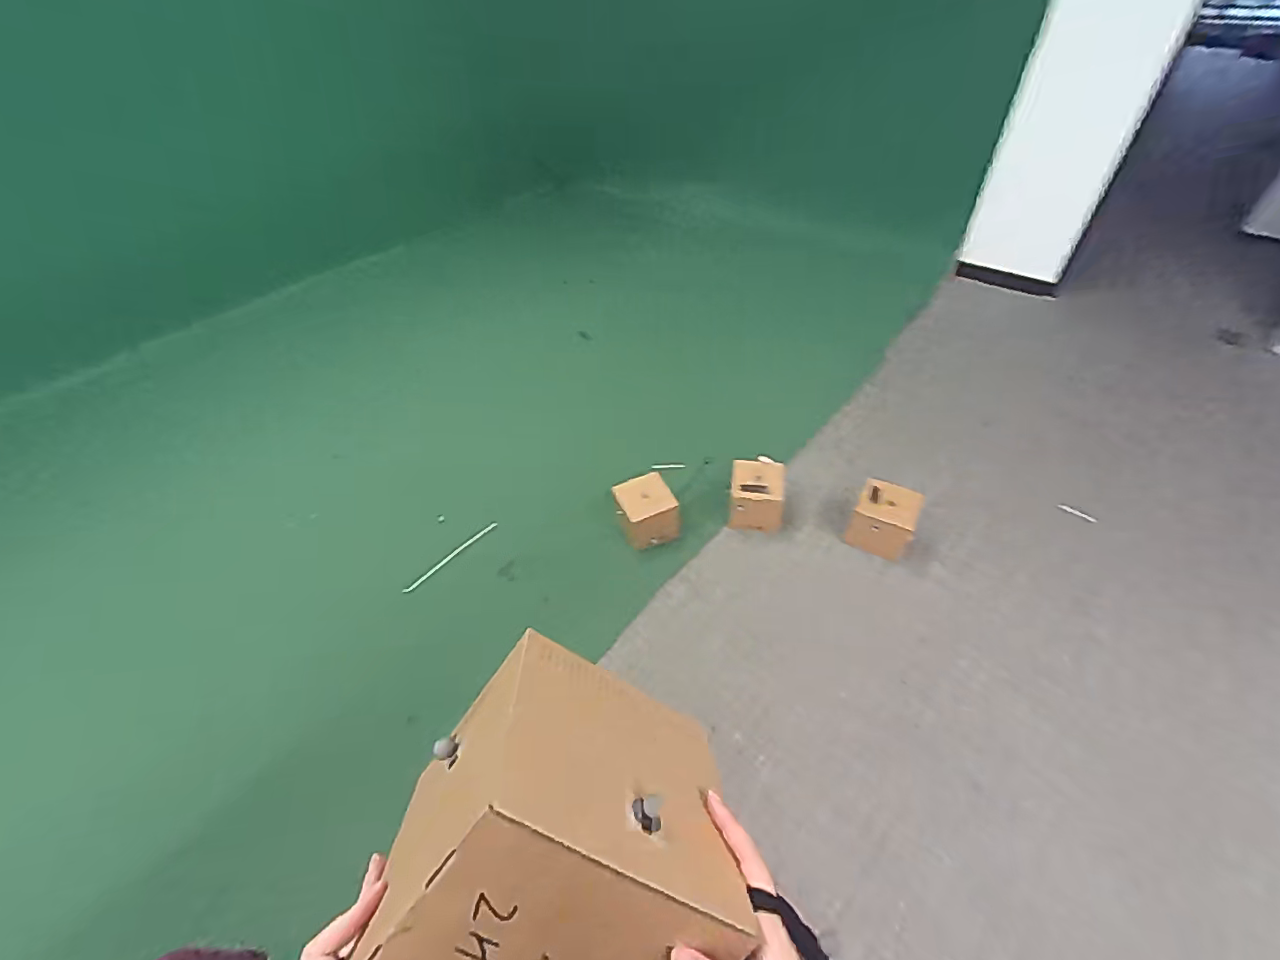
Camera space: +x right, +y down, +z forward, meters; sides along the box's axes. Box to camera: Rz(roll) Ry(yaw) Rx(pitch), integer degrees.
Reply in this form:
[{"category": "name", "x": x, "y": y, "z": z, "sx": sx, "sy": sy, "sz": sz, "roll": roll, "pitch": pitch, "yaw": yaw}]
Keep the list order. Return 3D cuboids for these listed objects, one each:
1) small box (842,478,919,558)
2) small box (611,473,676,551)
[{"category": "small box", "x": 0.776, "y": 0.126, "z": 1.754, "sx": 0.179, "sy": 0.176, "sz": 0.168, "roll": 21, "pitch": 52, "yaw": 22}, {"category": "small box", "x": 0.014, "y": 0.110, "z": 1.839, "sx": 0.168, "sy": 0.176, "sz": 0.179, "roll": -21, "pitch": 48, "yaw": -14}]
